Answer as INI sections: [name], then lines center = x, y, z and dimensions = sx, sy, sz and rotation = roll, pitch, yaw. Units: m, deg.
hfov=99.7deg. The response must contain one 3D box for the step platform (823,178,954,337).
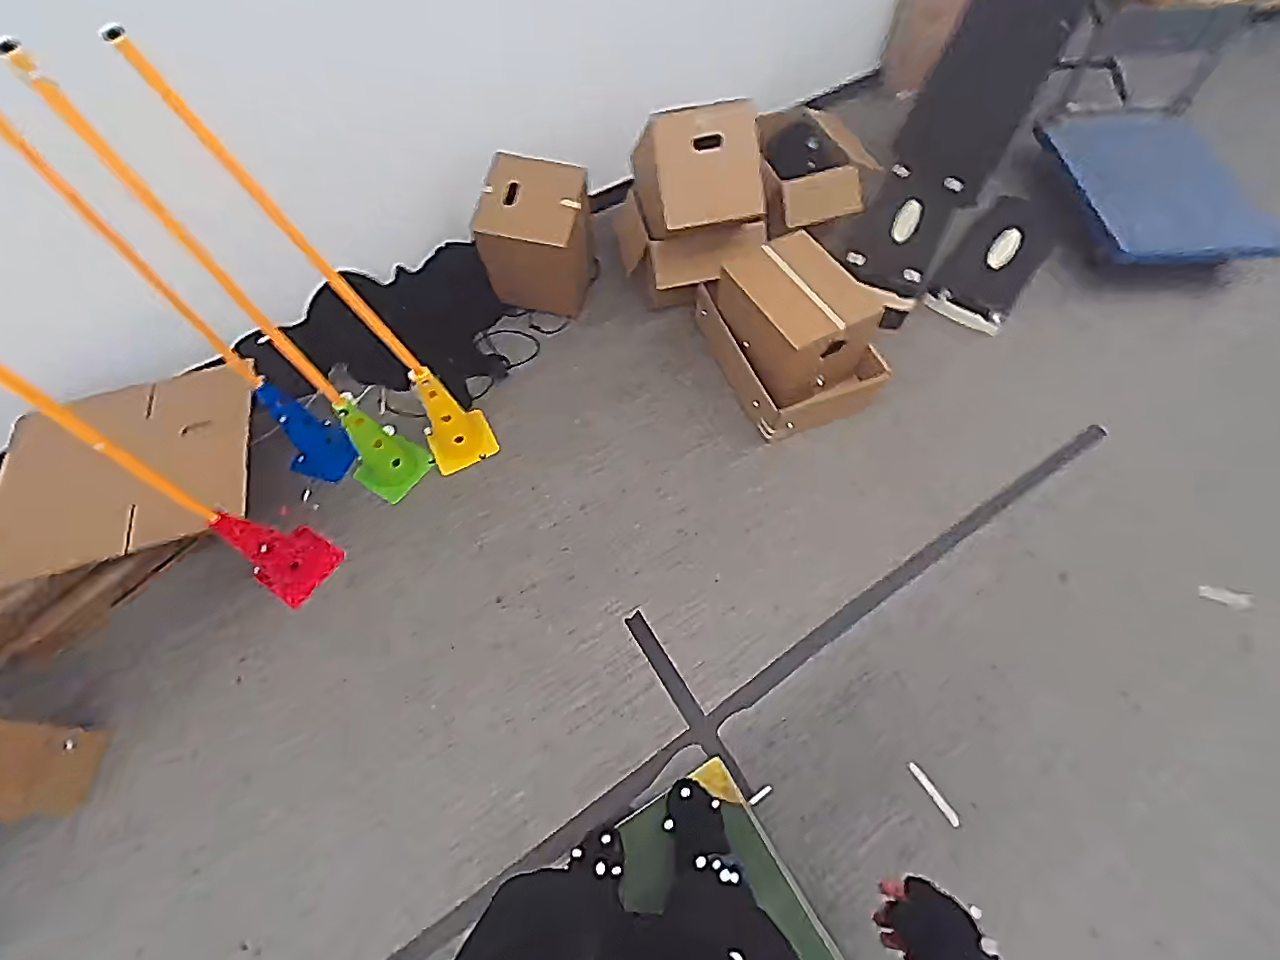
[step platform]
center = 0.952, -0.865, 2.060
dimensions = 0.286, 0.204, 0.684
rotation = 24, 65, 15
